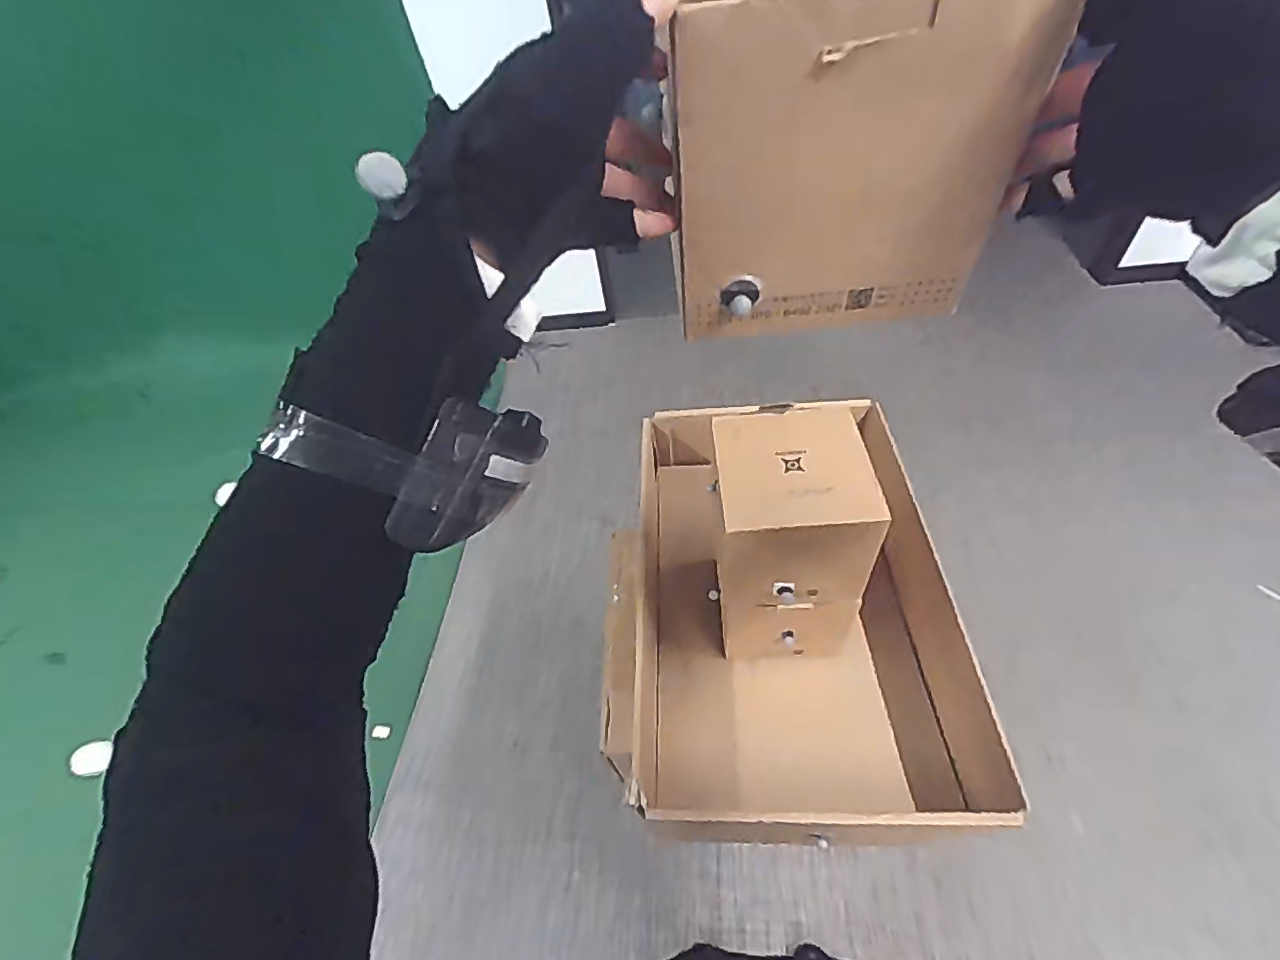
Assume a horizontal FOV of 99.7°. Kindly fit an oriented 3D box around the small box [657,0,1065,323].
[{"bbox_3d":[0.100,-0.210,0.325,0.168,0.176,0.179,-5,53,3],"label":"small box"}]

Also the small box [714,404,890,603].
[{"bbox_3d":[0.179,0.031,0.662,0.168,0.176,0.179,-5,50,5],"label":"small box"}]
